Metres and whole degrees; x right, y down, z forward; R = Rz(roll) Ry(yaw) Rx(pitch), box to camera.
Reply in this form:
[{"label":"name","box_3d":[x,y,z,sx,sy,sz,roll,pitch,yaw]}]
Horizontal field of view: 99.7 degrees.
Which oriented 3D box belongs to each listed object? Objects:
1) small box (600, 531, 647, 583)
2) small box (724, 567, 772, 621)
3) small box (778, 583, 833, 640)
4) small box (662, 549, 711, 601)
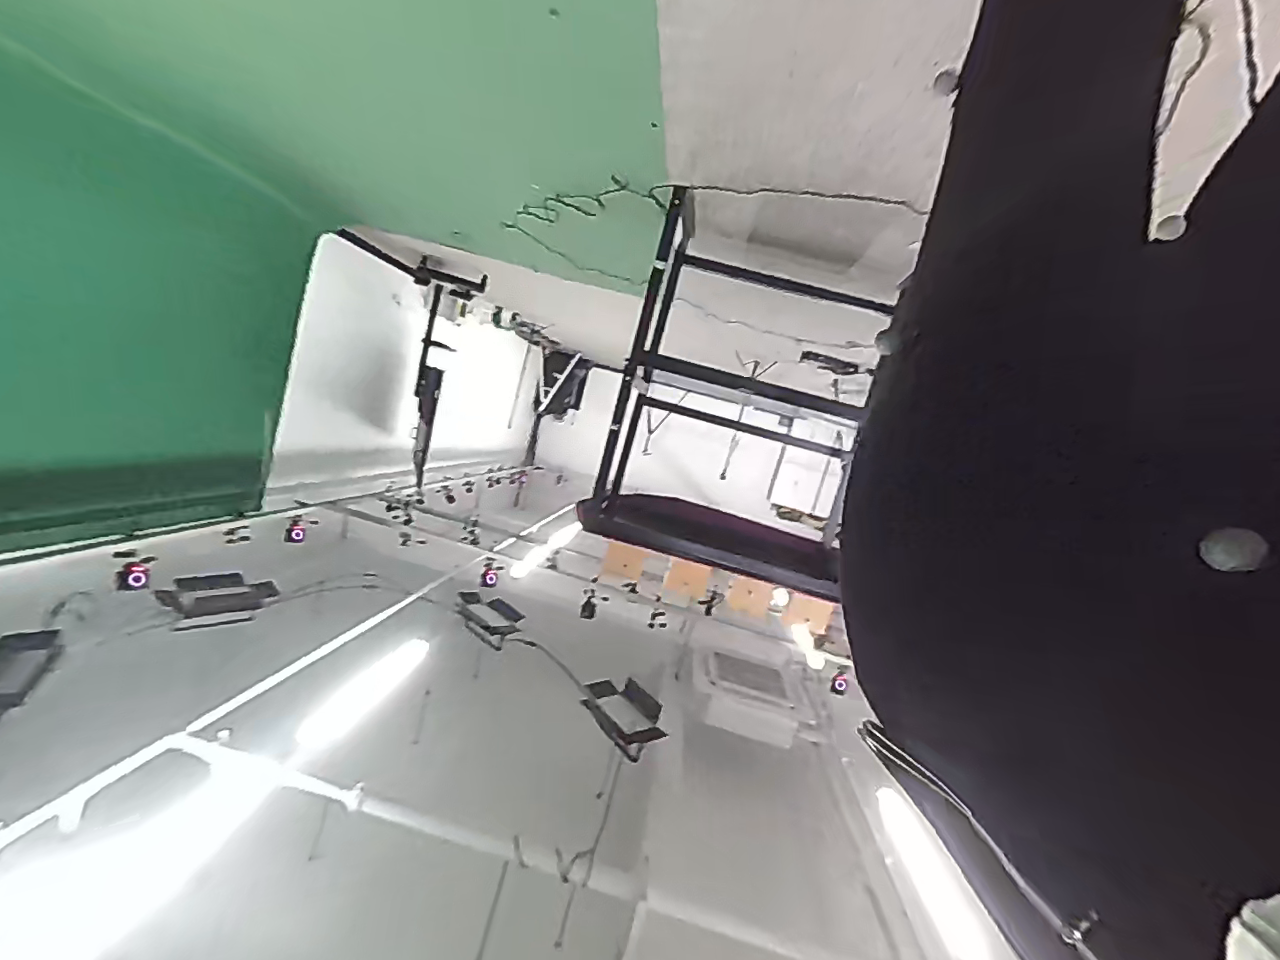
[{"label":"small box","box_3d":[-0.070,0.341,2.423,0.179,0.176,0.168,15,-176,0]},{"label":"small box","box_3d":[0.476,0.498,2.389,0.168,0.176,0.179,17,-174,5]},{"label":"small box","box_3d":[0.726,0.572,2.368,0.179,0.176,0.168,17,-174,5]},{"label":"small box","box_3d":[0.206,0.418,2.409,0.179,0.176,0.168,15,-173,4]}]
